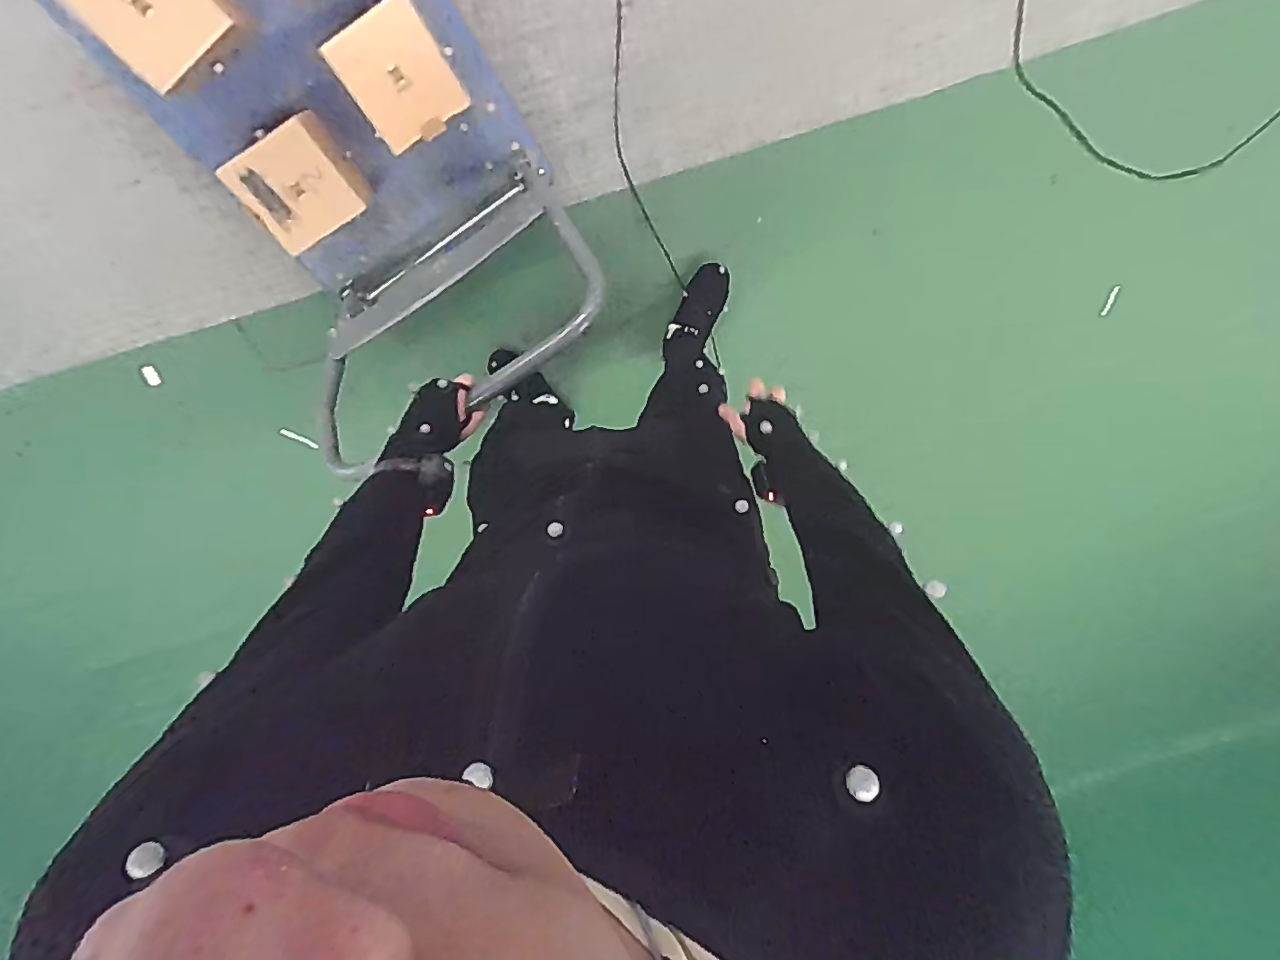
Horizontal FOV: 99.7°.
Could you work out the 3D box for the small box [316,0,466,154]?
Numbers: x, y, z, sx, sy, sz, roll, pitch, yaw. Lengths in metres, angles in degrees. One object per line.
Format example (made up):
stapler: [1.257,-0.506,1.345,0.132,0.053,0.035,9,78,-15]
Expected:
small box: [-0.435,-0.726,0.971,0.168,0.176,0.179,-31,131,7]

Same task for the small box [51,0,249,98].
small box: [-0.761,-0.743,0.843,0.168,0.176,0.179,-35,130,9]
